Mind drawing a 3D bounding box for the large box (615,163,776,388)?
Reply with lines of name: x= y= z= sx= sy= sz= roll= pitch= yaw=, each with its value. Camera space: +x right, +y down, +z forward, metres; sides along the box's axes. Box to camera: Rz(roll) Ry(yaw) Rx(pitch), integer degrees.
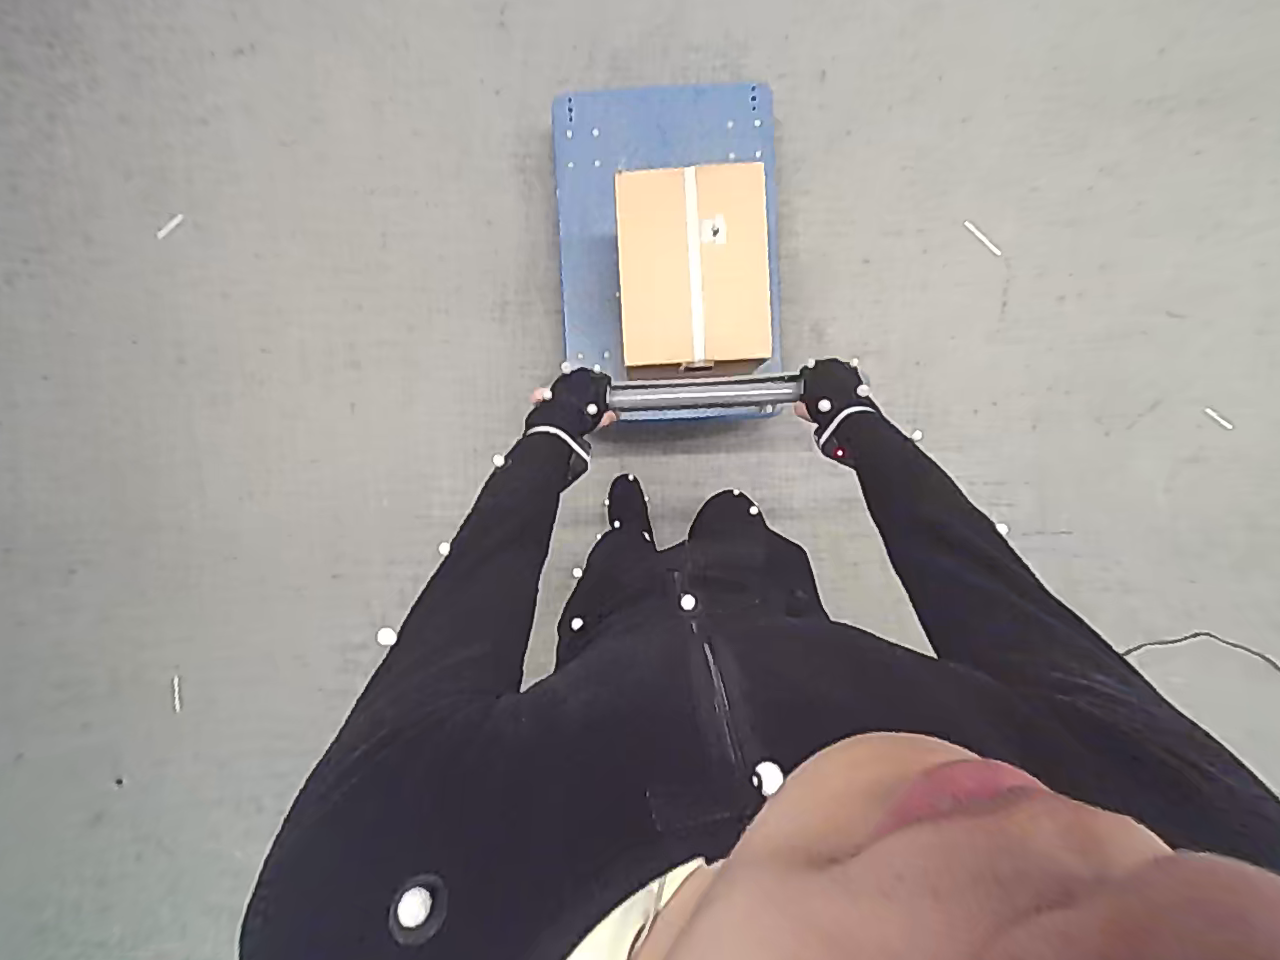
large box: x=0.117 y=-0.446 z=1.262 sx=0.320 sy=0.320 sz=0.408 roll=-3 pitch=91 yaw=0
